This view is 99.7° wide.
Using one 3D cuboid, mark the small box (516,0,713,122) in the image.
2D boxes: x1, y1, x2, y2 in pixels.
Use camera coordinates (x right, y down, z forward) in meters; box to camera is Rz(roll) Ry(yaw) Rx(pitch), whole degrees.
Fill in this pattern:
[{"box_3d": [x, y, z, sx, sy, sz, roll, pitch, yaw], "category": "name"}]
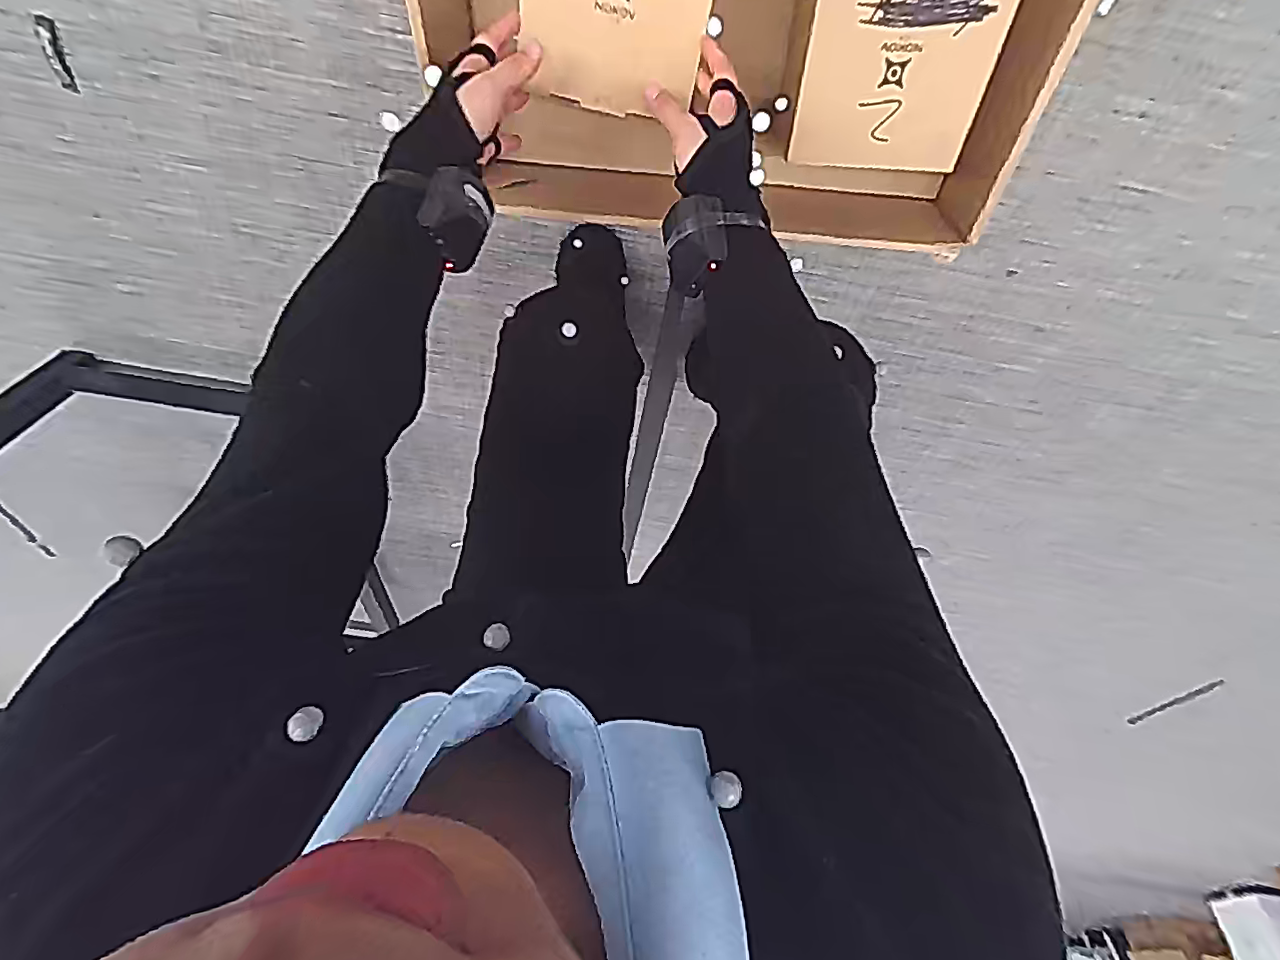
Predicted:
[{"box_3d": [-0.020, -0.468, 0.513, 0.168, 0.176, 0.179, 8, 129, -7], "category": "small box"}]
